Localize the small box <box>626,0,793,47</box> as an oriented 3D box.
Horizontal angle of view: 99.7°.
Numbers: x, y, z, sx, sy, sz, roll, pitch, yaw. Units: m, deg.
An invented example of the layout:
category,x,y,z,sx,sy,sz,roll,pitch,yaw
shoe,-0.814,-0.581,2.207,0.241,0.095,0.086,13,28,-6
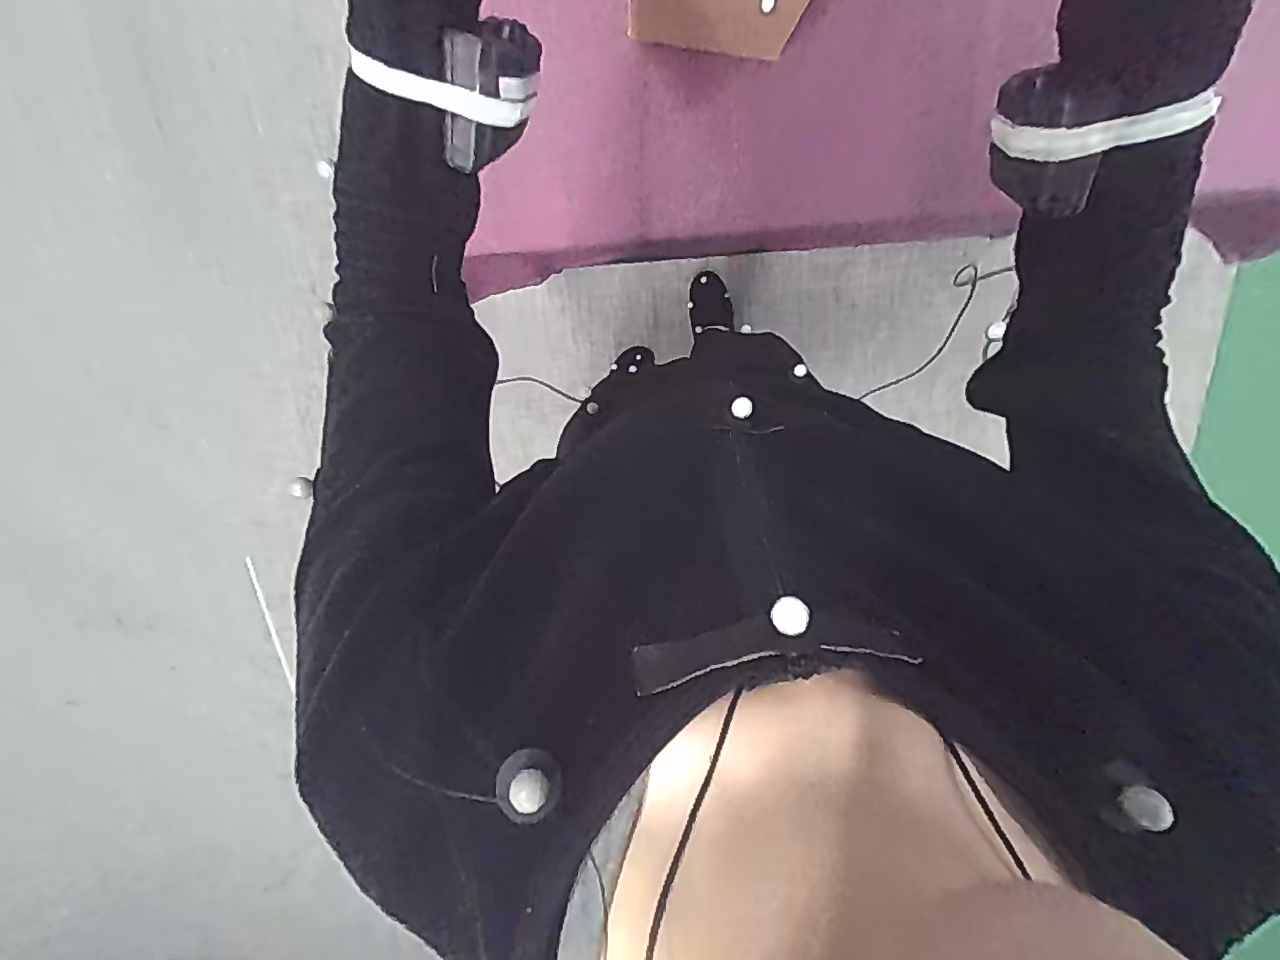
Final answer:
category,x,y,z,sx,sy,sz,roll,pitch,yaw
small box,0.079,-0.557,0.521,0.179,0.176,0.168,6,107,-3
